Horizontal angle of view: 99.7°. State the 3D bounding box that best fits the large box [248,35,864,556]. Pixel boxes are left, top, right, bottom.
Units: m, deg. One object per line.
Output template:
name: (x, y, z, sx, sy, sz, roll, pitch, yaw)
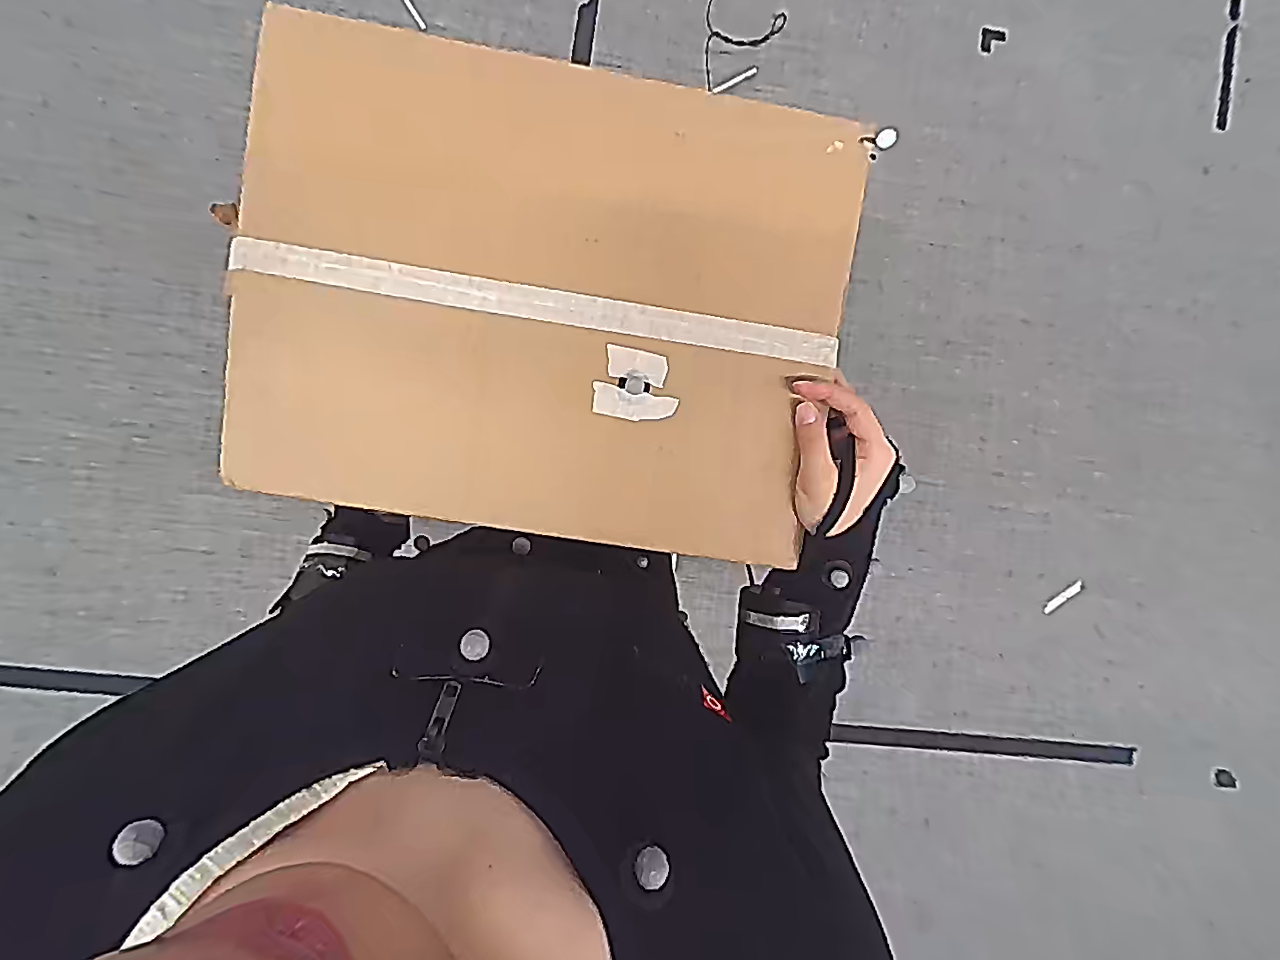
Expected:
large box: (-0.068, -0.129, 0.525, 0.408, 0.320, 0.320, 8, 95, -5)
